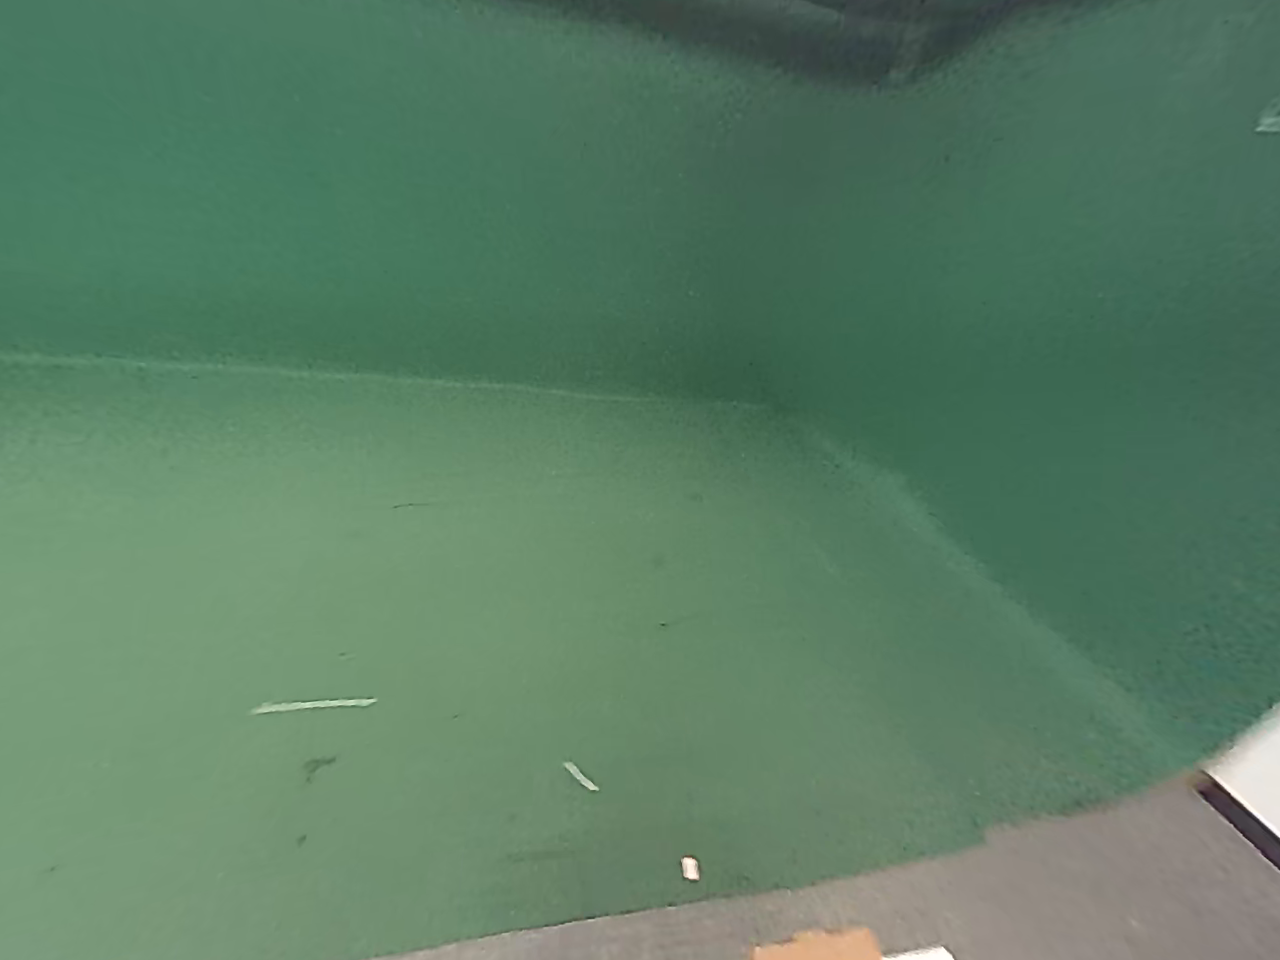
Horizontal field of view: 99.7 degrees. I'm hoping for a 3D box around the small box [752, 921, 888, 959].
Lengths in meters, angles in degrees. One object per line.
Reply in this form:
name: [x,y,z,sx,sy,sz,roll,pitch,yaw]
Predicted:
small box: [0.221,0.680,0.652,0.168,0.176,0.179,2,33,-13]
